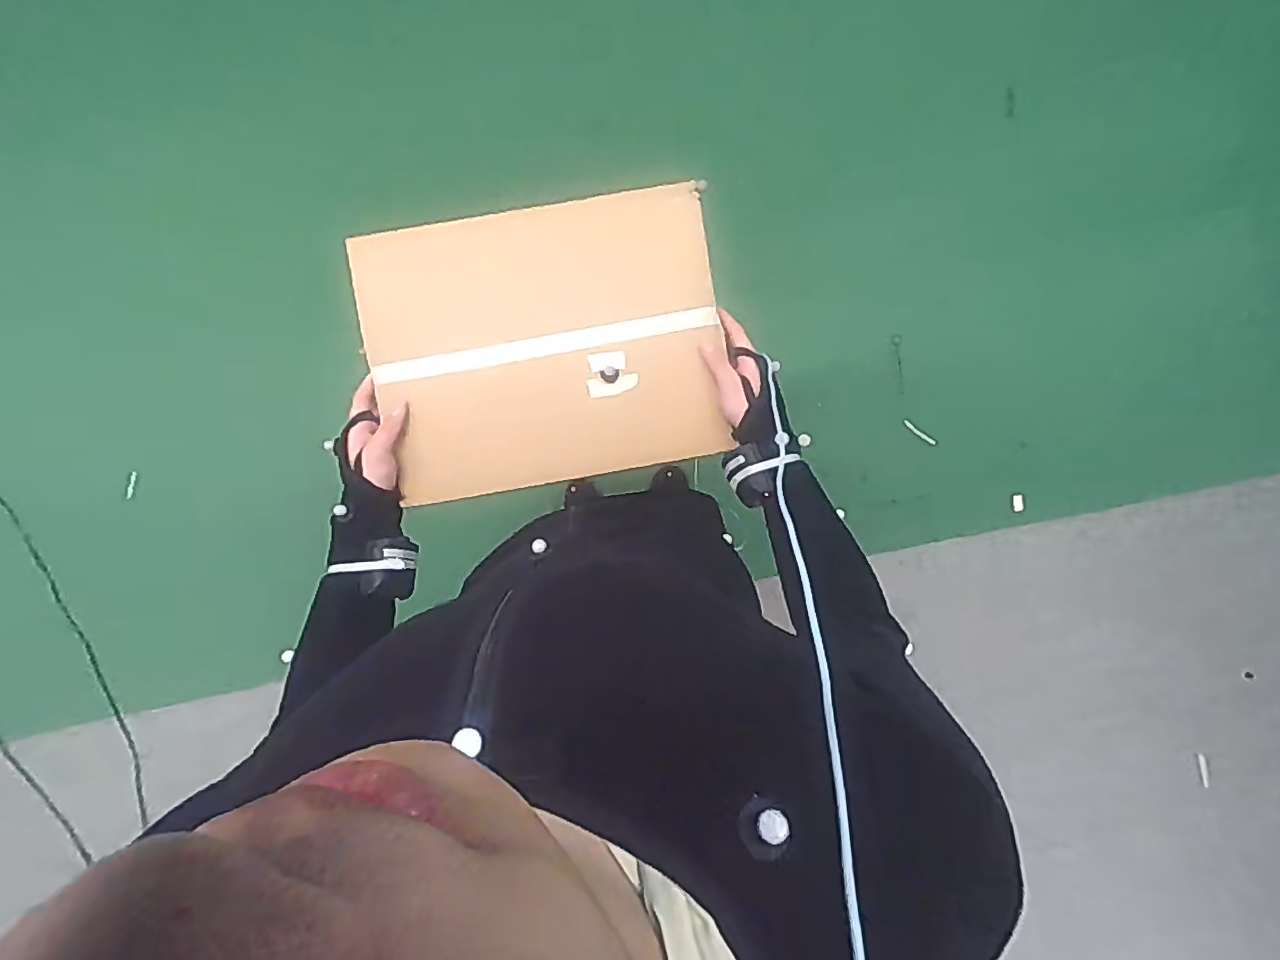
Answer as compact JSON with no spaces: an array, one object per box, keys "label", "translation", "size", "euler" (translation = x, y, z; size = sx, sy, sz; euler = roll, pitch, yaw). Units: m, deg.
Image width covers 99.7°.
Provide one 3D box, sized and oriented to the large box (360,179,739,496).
[{"label":"large box","translation":[-0.109,-0.170,0.779],"size":[0.408,0.320,0.320],"euler":[-10,93,-2]}]
